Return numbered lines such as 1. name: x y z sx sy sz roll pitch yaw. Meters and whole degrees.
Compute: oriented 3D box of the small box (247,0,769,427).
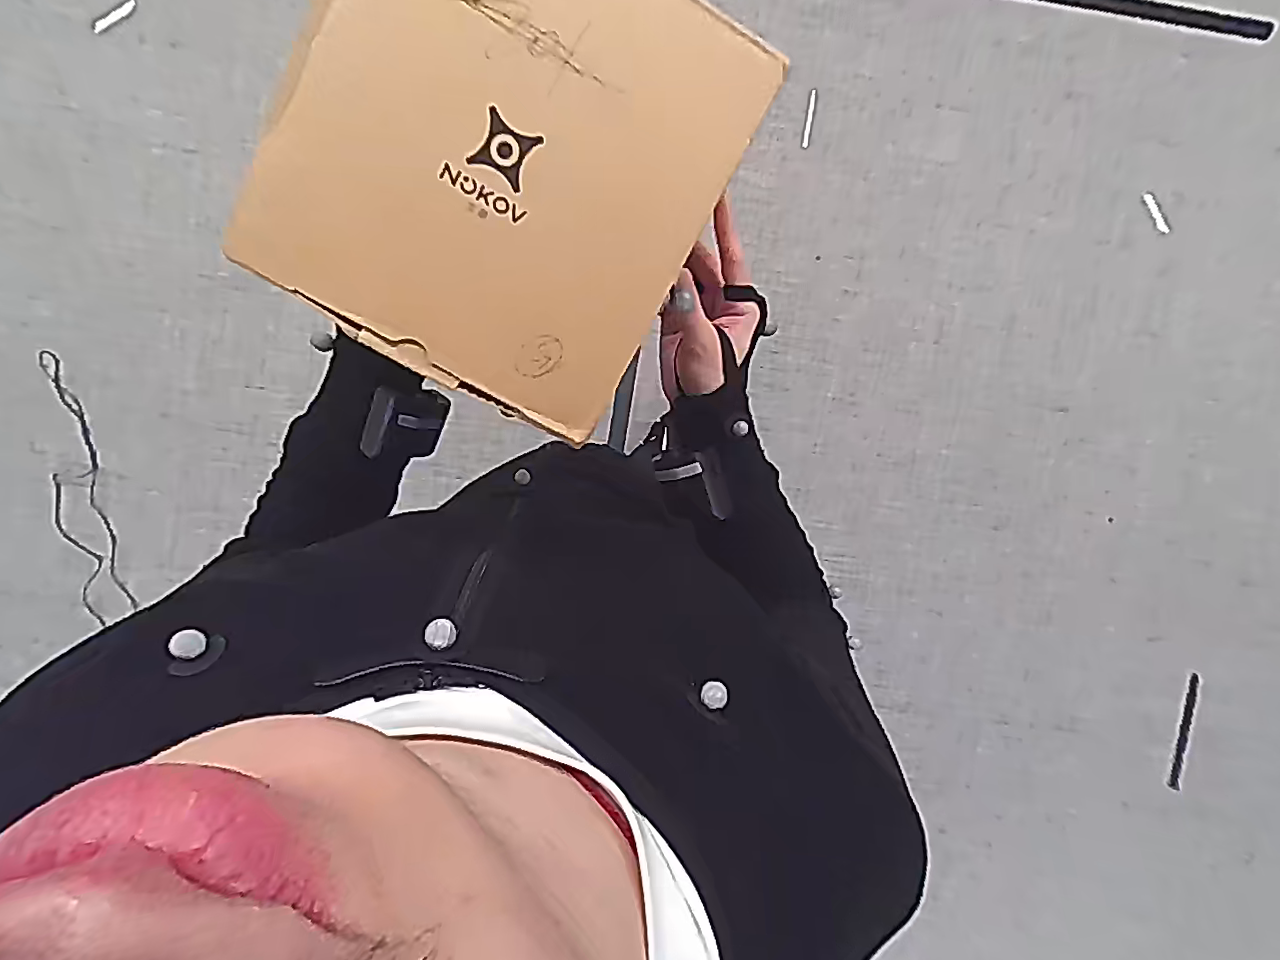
1. small box: -0.059 -0.150 0.303 0.168 0.176 0.179 27 99 -9
